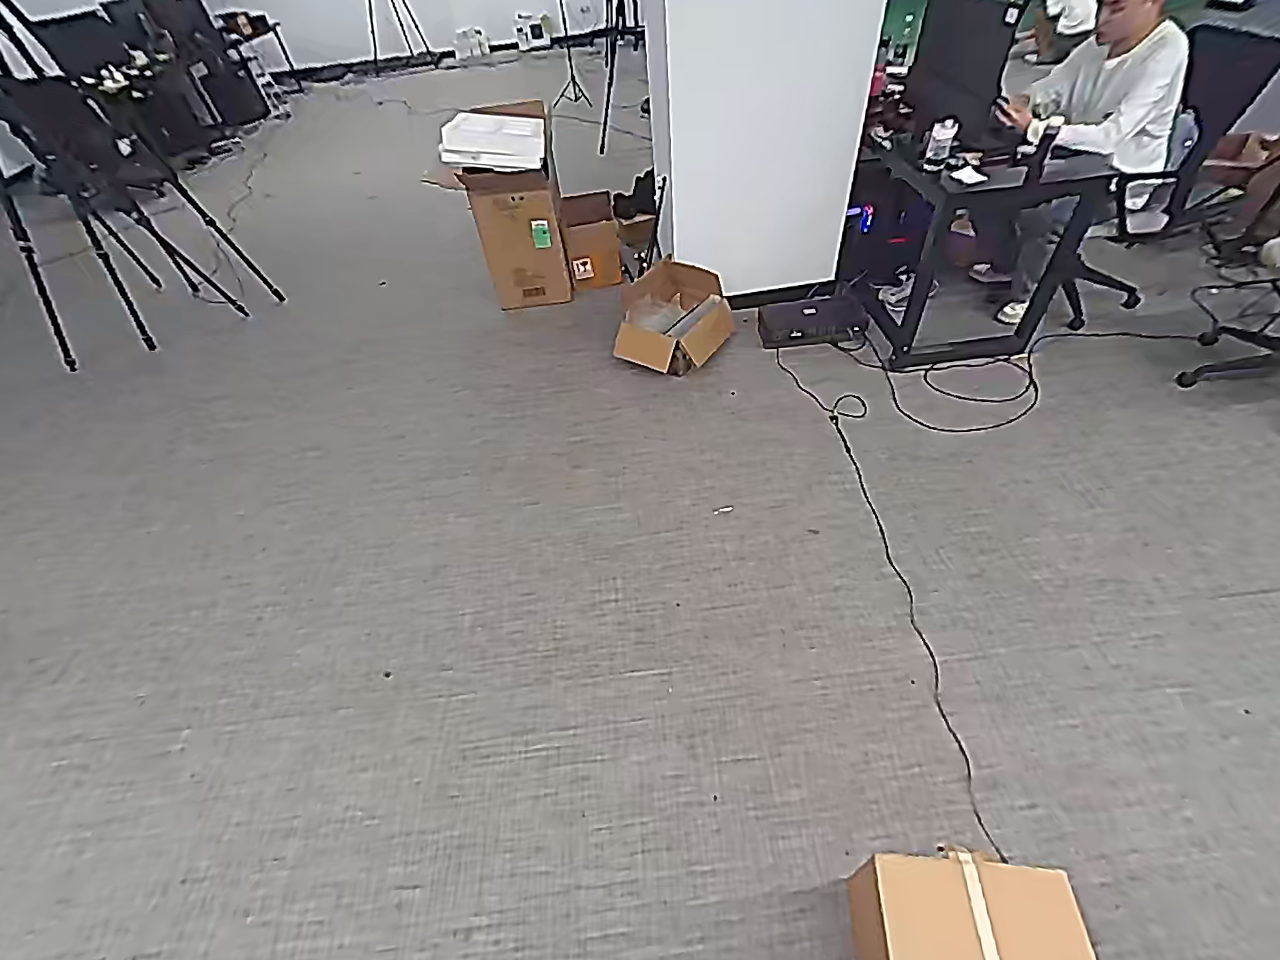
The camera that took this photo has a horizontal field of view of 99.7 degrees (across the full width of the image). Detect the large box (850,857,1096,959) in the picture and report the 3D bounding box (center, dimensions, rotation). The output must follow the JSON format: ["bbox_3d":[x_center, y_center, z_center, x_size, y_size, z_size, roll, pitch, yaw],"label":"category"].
[{"bbox_3d":[0.579,0.922,0.932,0.320,0.320,0.408,0,48,9],"label":"large box"}]
